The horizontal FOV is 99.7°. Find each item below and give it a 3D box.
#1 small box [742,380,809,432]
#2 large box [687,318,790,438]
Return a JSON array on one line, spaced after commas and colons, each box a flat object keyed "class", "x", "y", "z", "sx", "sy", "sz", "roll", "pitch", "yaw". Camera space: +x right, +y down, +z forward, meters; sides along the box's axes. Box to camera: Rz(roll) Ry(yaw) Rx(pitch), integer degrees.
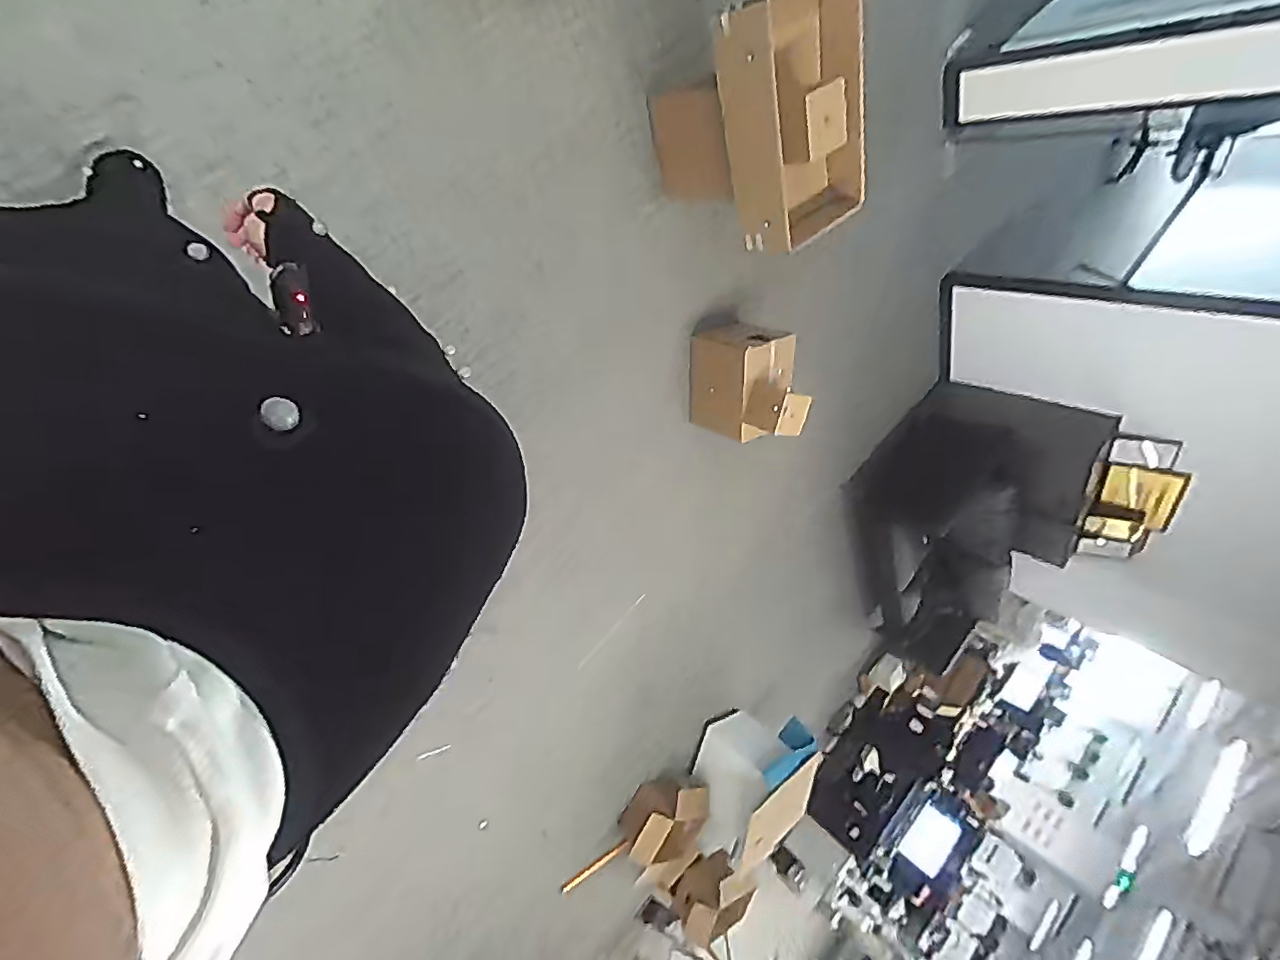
[{"class": "small box", "x": 0.540, "y": -0.298, "z": 2.167, "sx": 0.179, "sy": 0.176, "sz": 0.168, "roll": -3, "pitch": 113, "yaw": -41}, {"class": "large box", "x": 0.418, "y": -0.449, "z": 2.334, "sx": 0.320, "sy": 0.320, "sz": 0.408, "roll": -25, "pitch": 126, "yaw": -33}]
